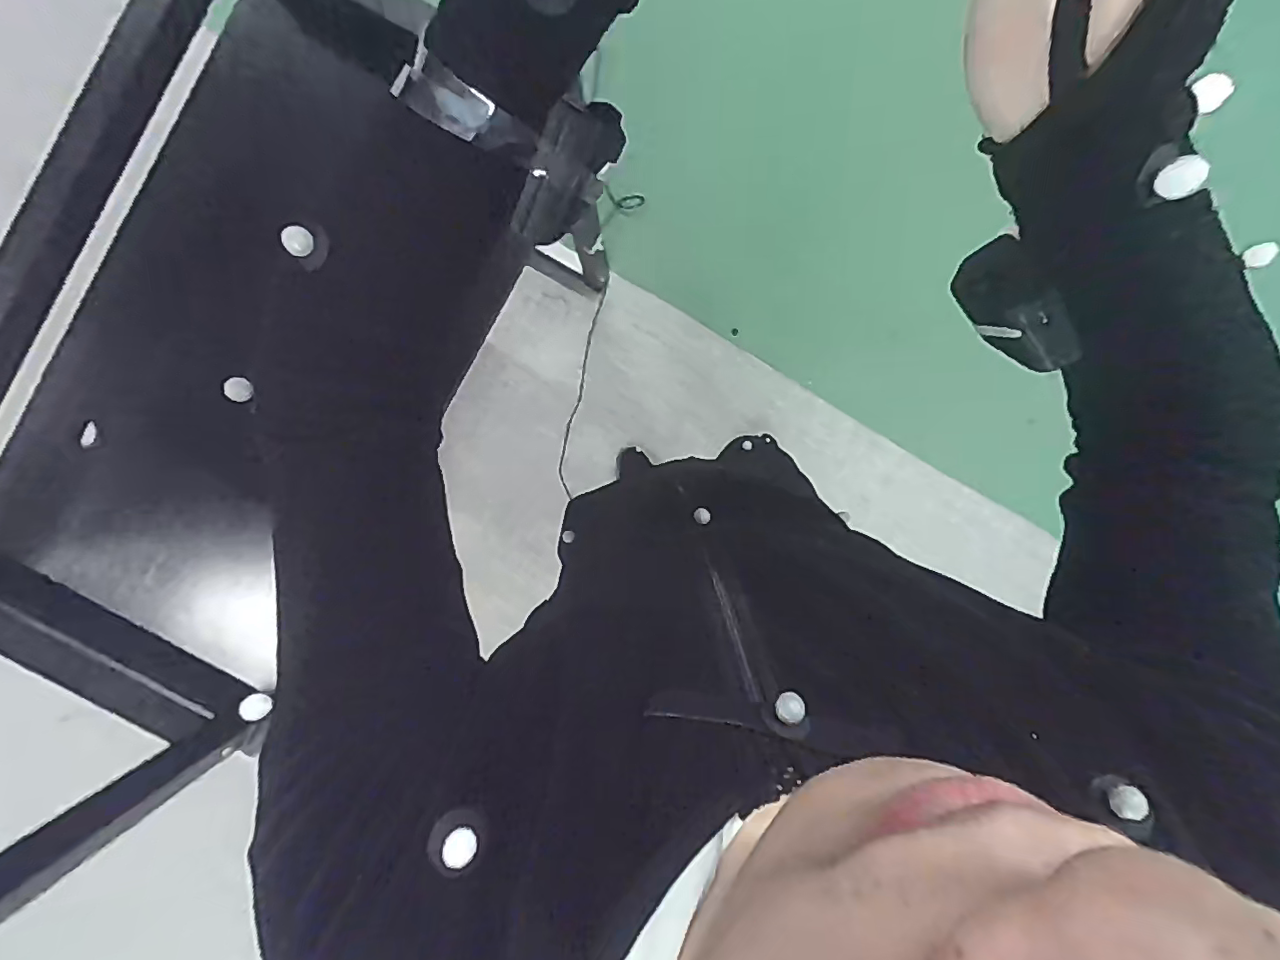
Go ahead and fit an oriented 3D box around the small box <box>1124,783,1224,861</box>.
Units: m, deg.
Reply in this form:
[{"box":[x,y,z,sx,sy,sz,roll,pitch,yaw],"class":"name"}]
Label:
[{"box":[1.603,1.035,1.592,0.179,0.176,0.168,35,92,-2],"class":"small box"}]
